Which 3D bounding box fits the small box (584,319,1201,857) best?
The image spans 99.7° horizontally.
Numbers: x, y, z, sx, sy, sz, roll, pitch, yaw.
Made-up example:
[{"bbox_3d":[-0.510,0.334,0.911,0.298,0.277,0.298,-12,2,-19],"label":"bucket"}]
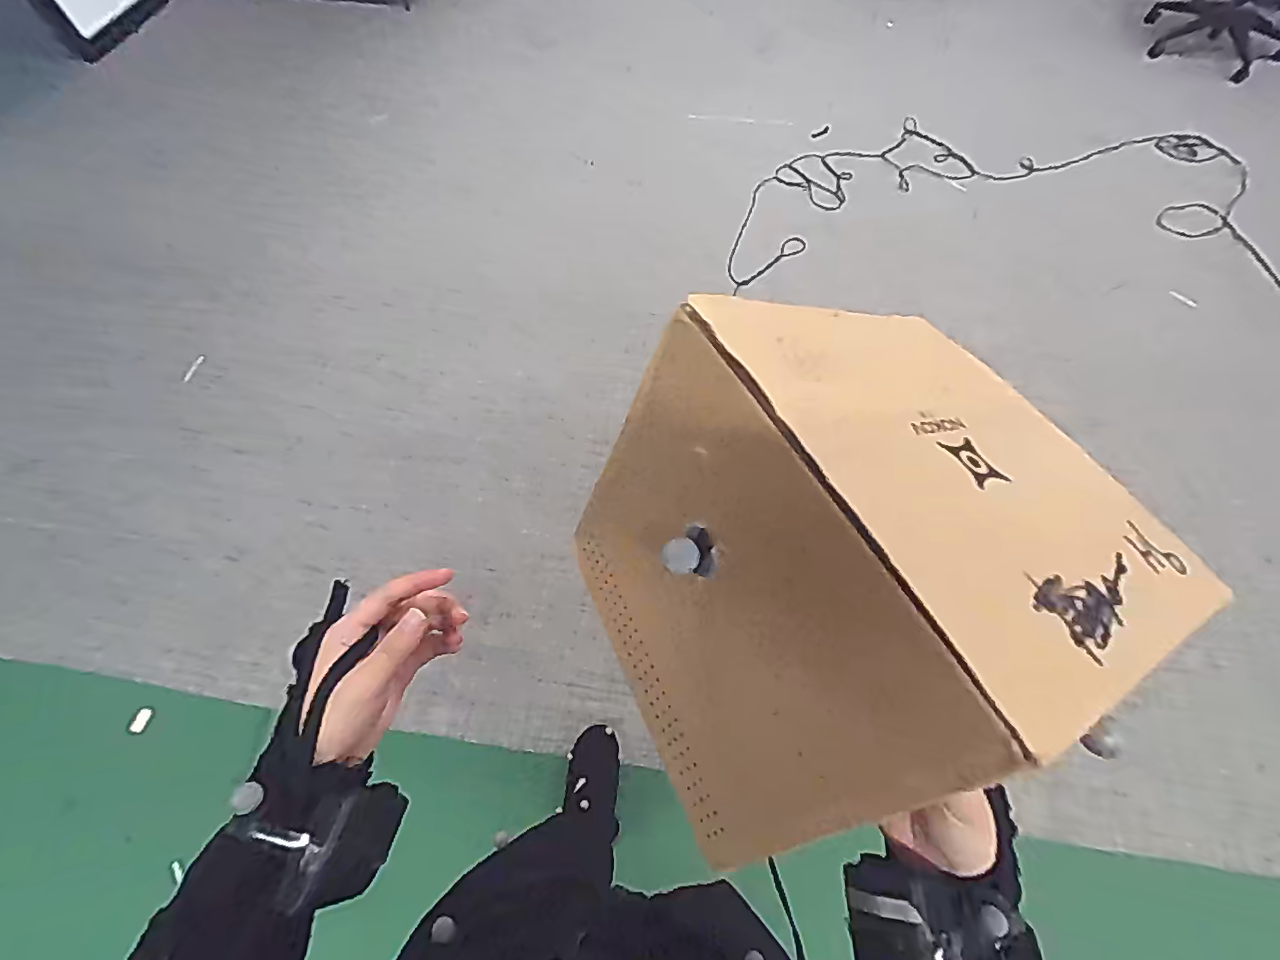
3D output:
[{"bbox_3d":[0.090,0.044,0.268,0.168,0.176,0.179,-9,53,-32],"label":"small box"}]
